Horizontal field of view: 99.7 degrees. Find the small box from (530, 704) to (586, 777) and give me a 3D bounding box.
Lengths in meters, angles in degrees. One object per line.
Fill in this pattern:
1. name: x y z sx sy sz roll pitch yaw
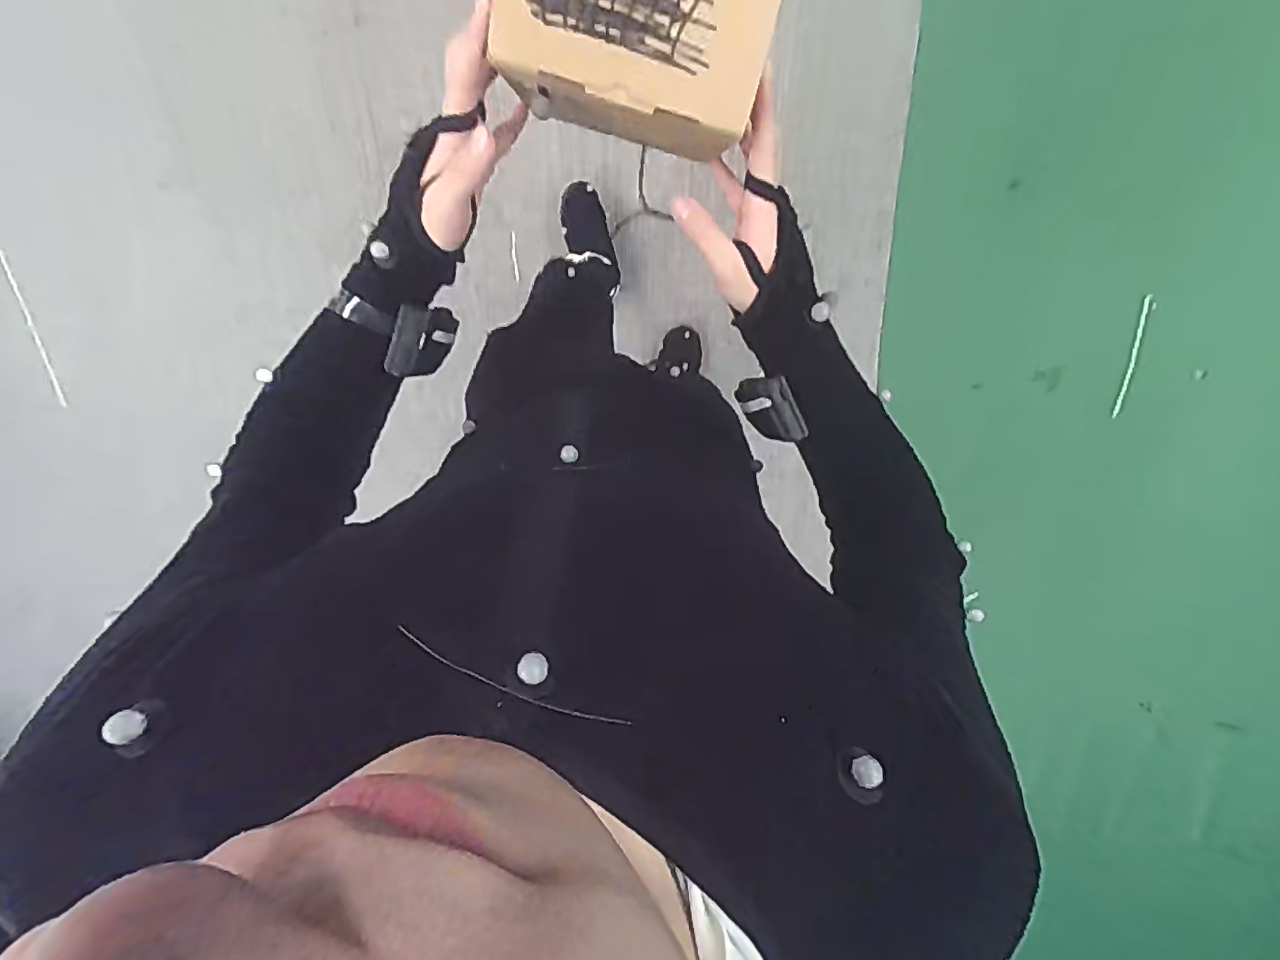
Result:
1. small box: -0.289 0.921 1.922 0.179 0.176 0.168 2 109 5
